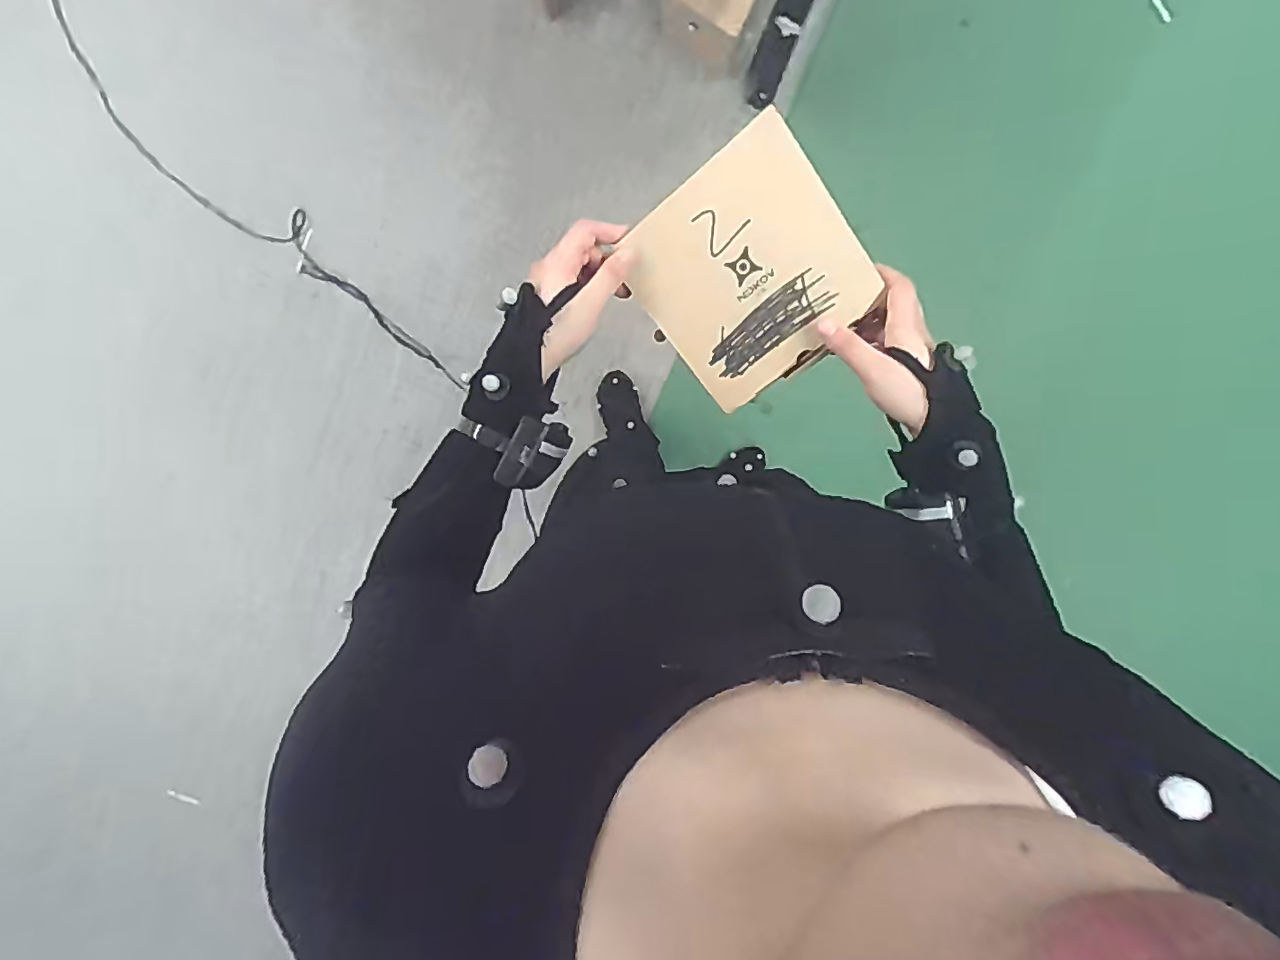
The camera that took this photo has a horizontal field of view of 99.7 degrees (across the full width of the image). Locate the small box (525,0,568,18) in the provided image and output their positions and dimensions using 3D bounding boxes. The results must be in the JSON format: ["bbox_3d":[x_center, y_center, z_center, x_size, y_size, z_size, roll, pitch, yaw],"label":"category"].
[{"bbox_3d":[-0.218,-1.171,1.177,0.179,0.176,0.168,44,98,-5],"label":"small box"}]

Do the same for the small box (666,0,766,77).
[{"bbox_3d":[0.168,-1.042,1.188,0.179,0.176,0.168,29,101,-4],"label":"small box"}]
